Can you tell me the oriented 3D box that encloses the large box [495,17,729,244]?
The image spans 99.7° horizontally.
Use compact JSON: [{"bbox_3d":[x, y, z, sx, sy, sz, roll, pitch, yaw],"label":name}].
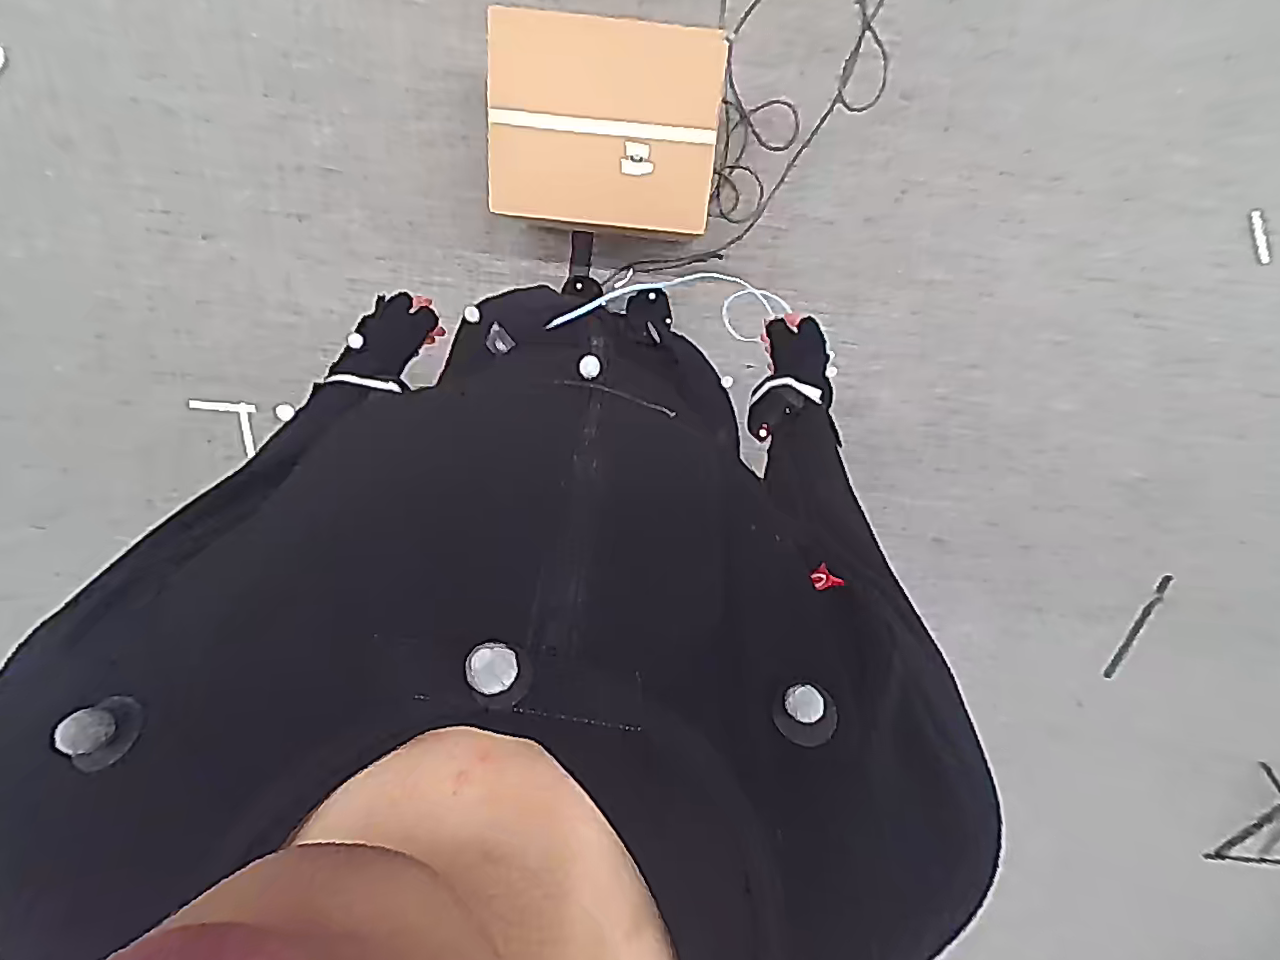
[{"bbox_3d":[-0.059,-0.673,1.105,0.408,0.320,0.320,5,112,-1],"label":"large box"}]
